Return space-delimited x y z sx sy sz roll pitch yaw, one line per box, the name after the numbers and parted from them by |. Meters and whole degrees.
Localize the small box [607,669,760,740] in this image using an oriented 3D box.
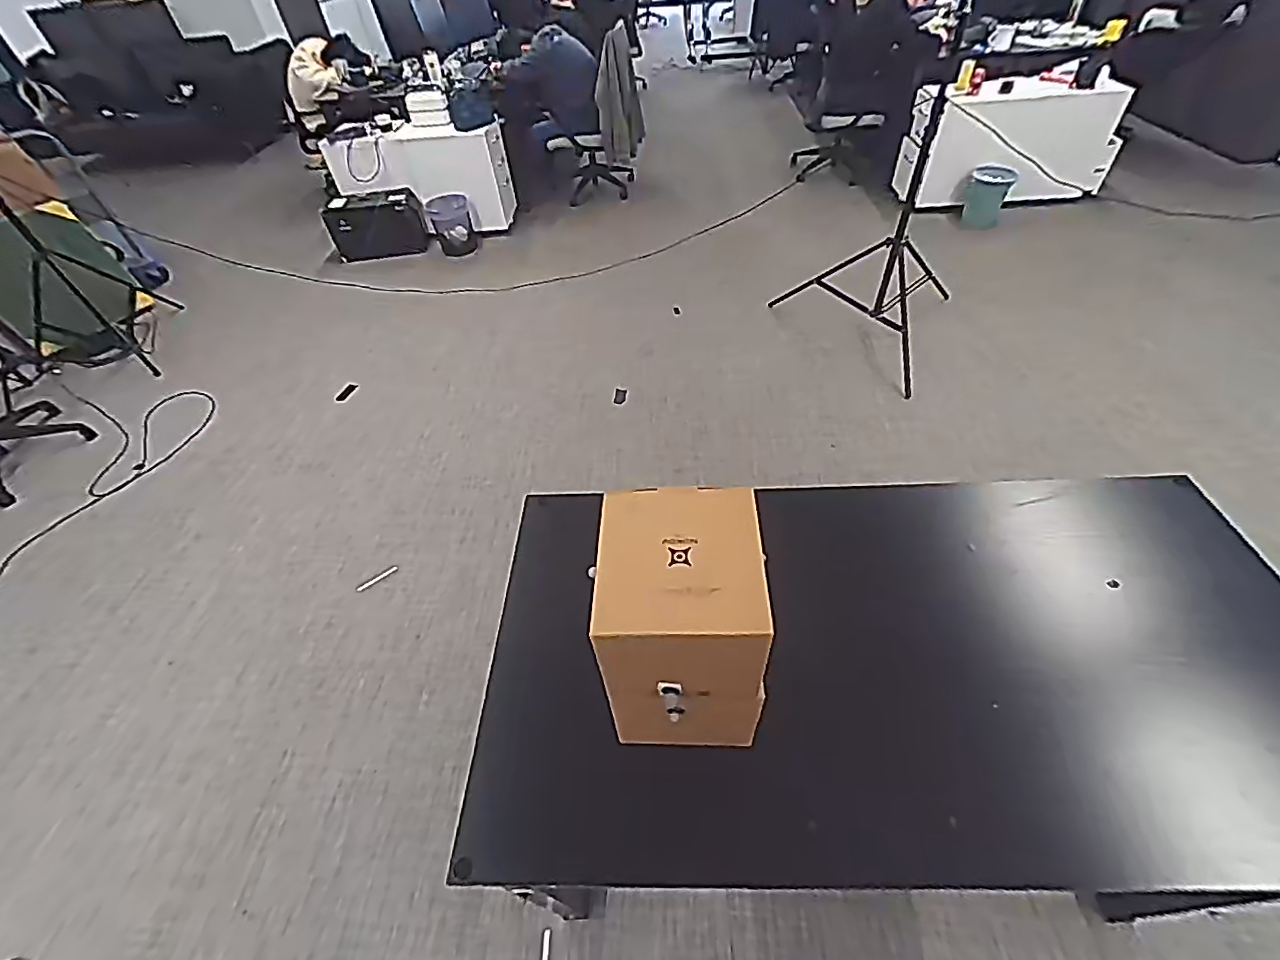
0.057 0.234 0.721 0.179 0.176 0.168 0 47 4 | small box

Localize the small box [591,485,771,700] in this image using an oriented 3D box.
0.044 0.125 0.601 0.168 0.176 0.179 -3 48 4 | small box
